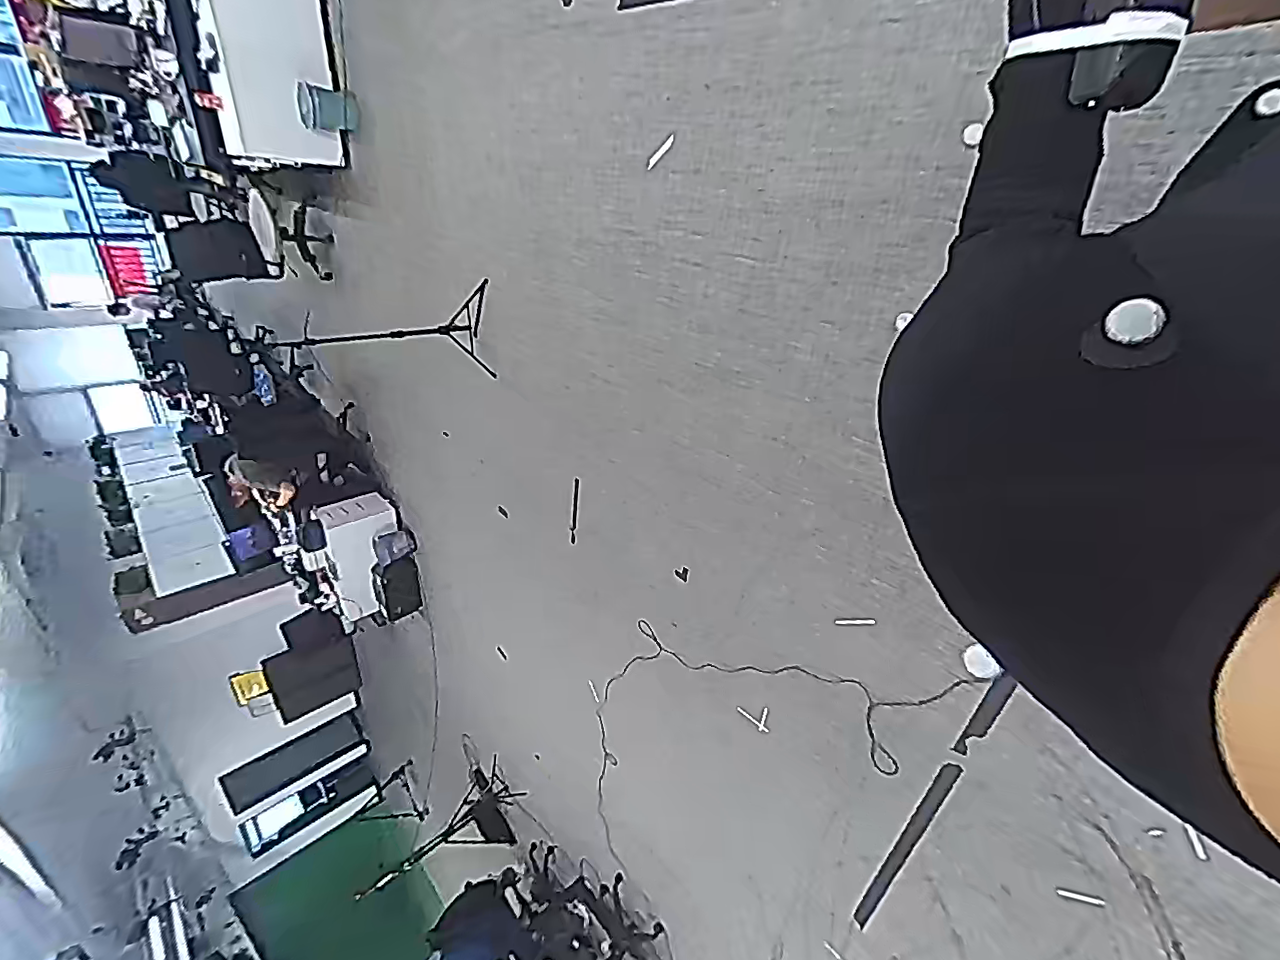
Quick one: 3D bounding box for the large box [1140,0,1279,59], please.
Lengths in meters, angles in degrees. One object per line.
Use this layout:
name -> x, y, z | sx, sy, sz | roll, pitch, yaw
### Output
large box -> 0.532, -0.431, 0.235 | 0.408, 0.320, 0.320 | 21, 126, 36
